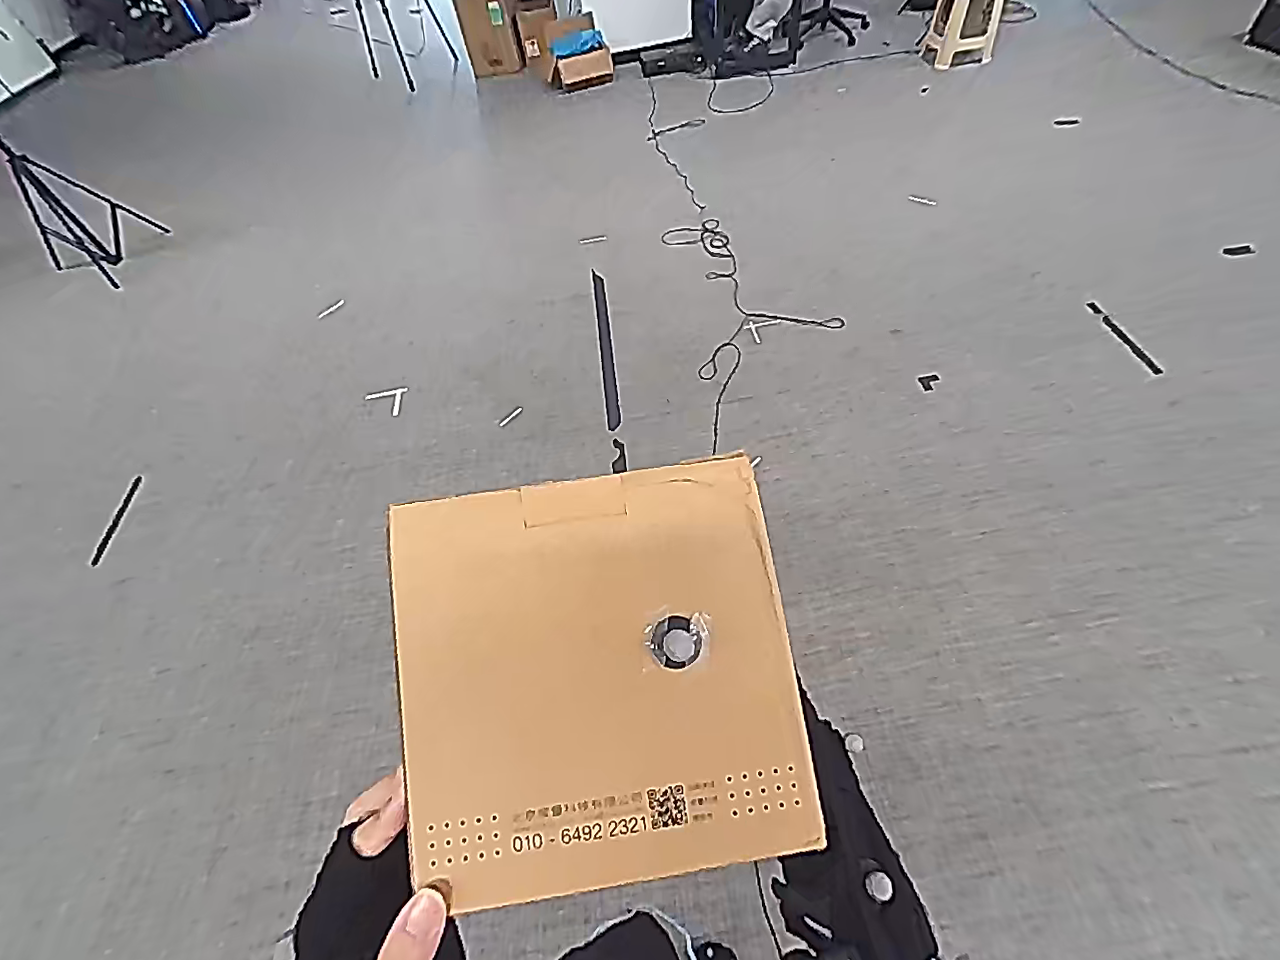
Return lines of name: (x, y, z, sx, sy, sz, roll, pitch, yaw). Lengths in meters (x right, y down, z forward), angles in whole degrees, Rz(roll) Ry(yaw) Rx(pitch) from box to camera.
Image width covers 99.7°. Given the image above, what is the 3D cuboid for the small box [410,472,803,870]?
small box: (-0.015, 0.103, 0.326, 0.168, 0.179, 0.176, -8, 80, -1)
